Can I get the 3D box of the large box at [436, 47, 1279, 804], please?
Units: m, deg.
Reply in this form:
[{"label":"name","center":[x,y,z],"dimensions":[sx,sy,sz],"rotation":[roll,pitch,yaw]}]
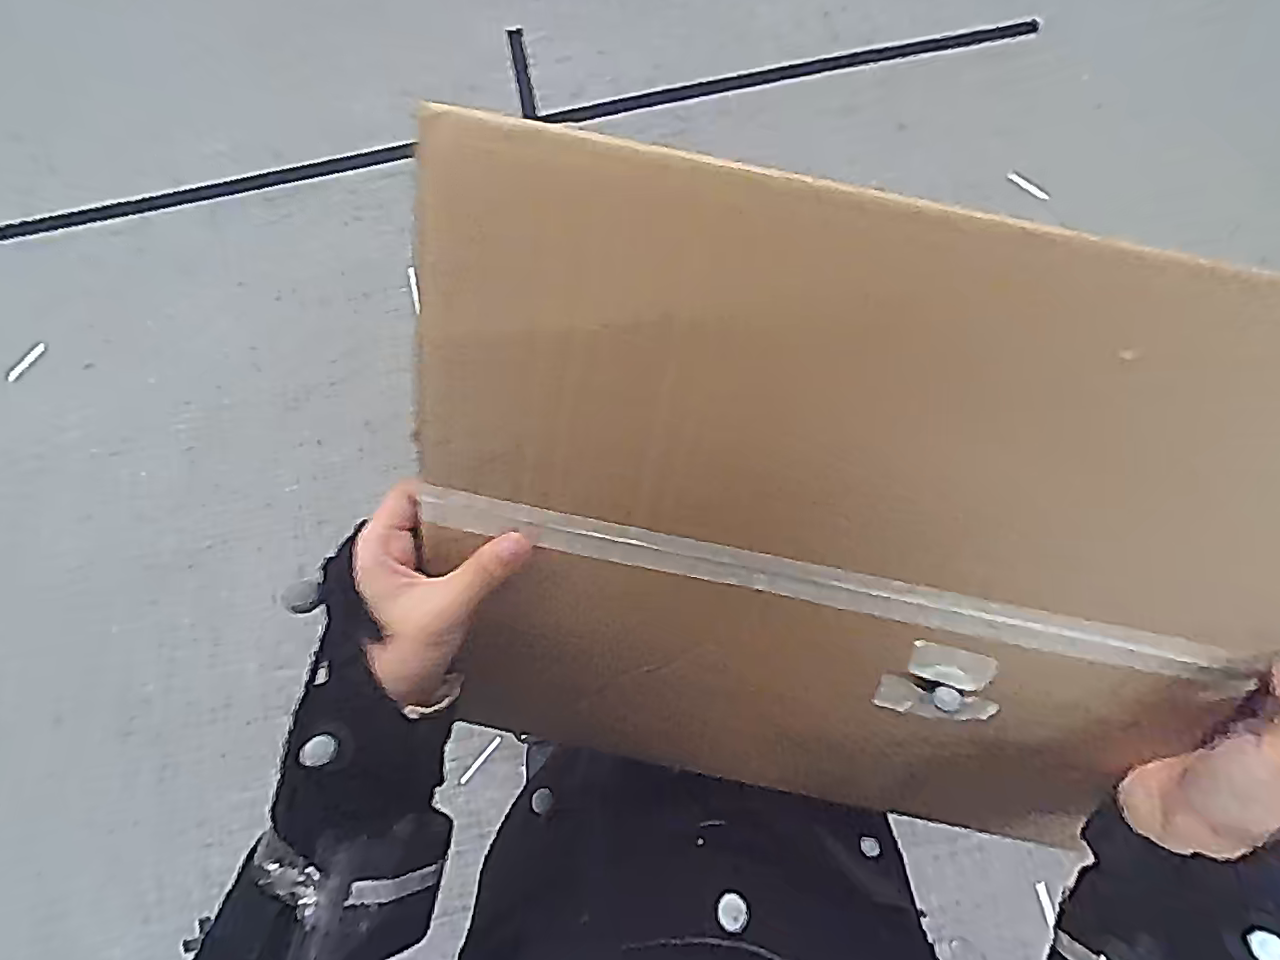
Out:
[{"label":"large box","center":[0.114,-0.044,0.380],"dimensions":[0.408,0.320,0.320],"rotation":[11,118,0]}]
